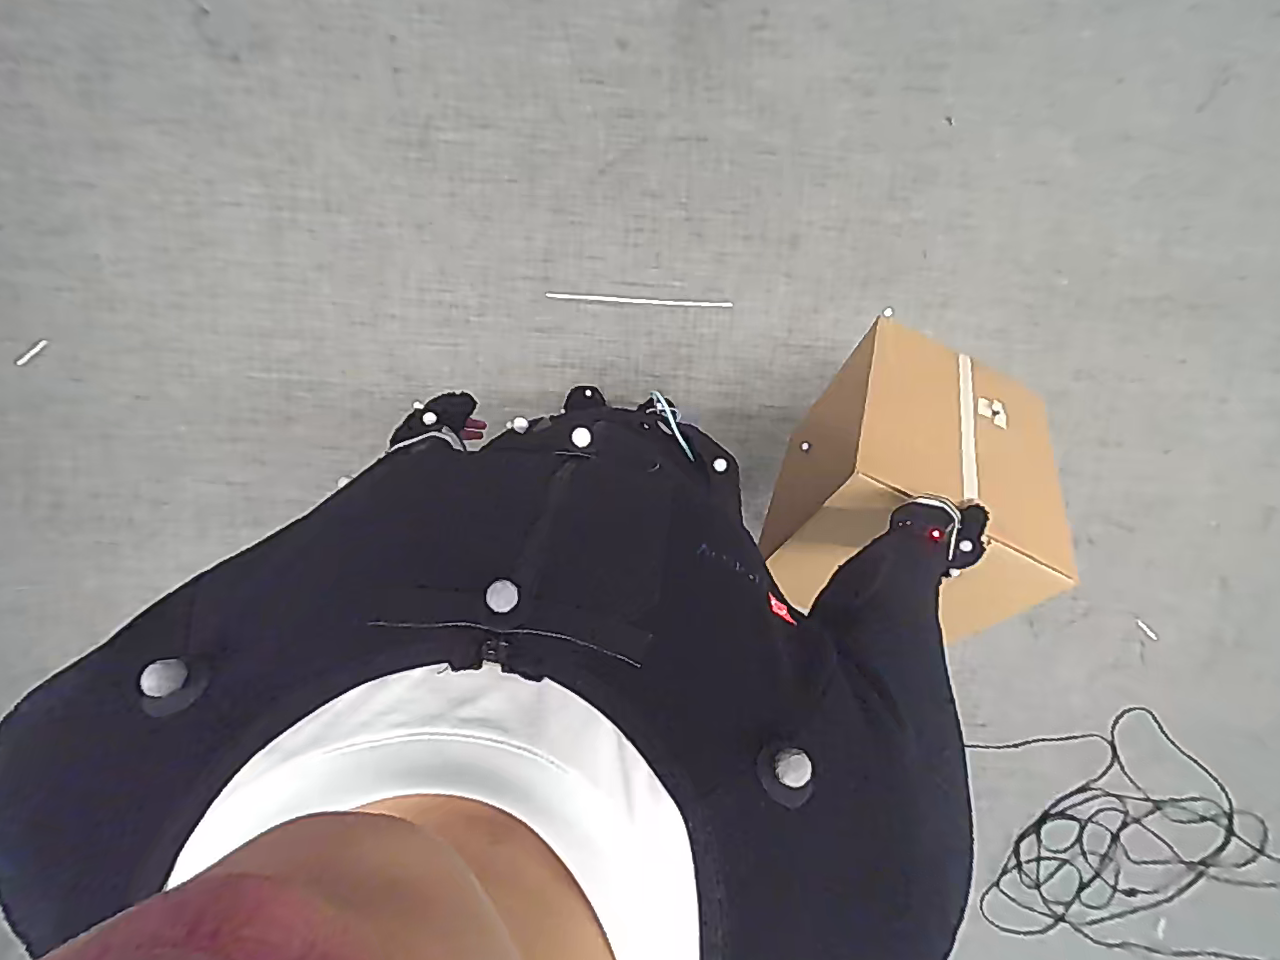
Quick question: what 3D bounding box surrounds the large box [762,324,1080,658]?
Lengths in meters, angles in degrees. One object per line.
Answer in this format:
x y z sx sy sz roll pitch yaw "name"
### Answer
0.441 0.017 0.917 0.320 0.408 0.320 27 140 1 "large box"
